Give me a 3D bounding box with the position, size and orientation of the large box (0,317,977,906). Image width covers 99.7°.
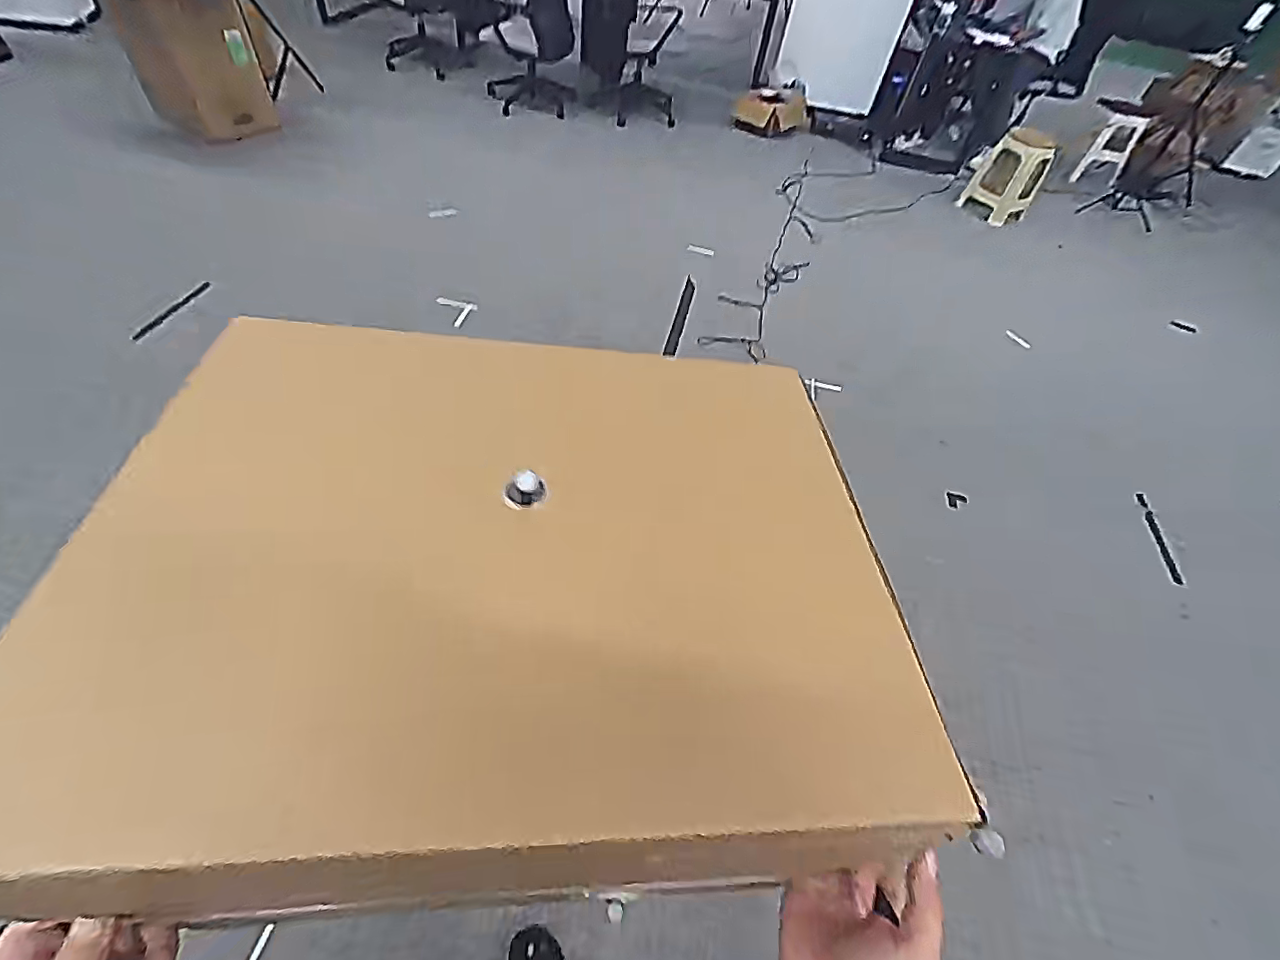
[{"bbox_3d":[-0.082,0.104,0.409,0.408,0.320,0.320,3,50,-9],"label":"large box"}]
